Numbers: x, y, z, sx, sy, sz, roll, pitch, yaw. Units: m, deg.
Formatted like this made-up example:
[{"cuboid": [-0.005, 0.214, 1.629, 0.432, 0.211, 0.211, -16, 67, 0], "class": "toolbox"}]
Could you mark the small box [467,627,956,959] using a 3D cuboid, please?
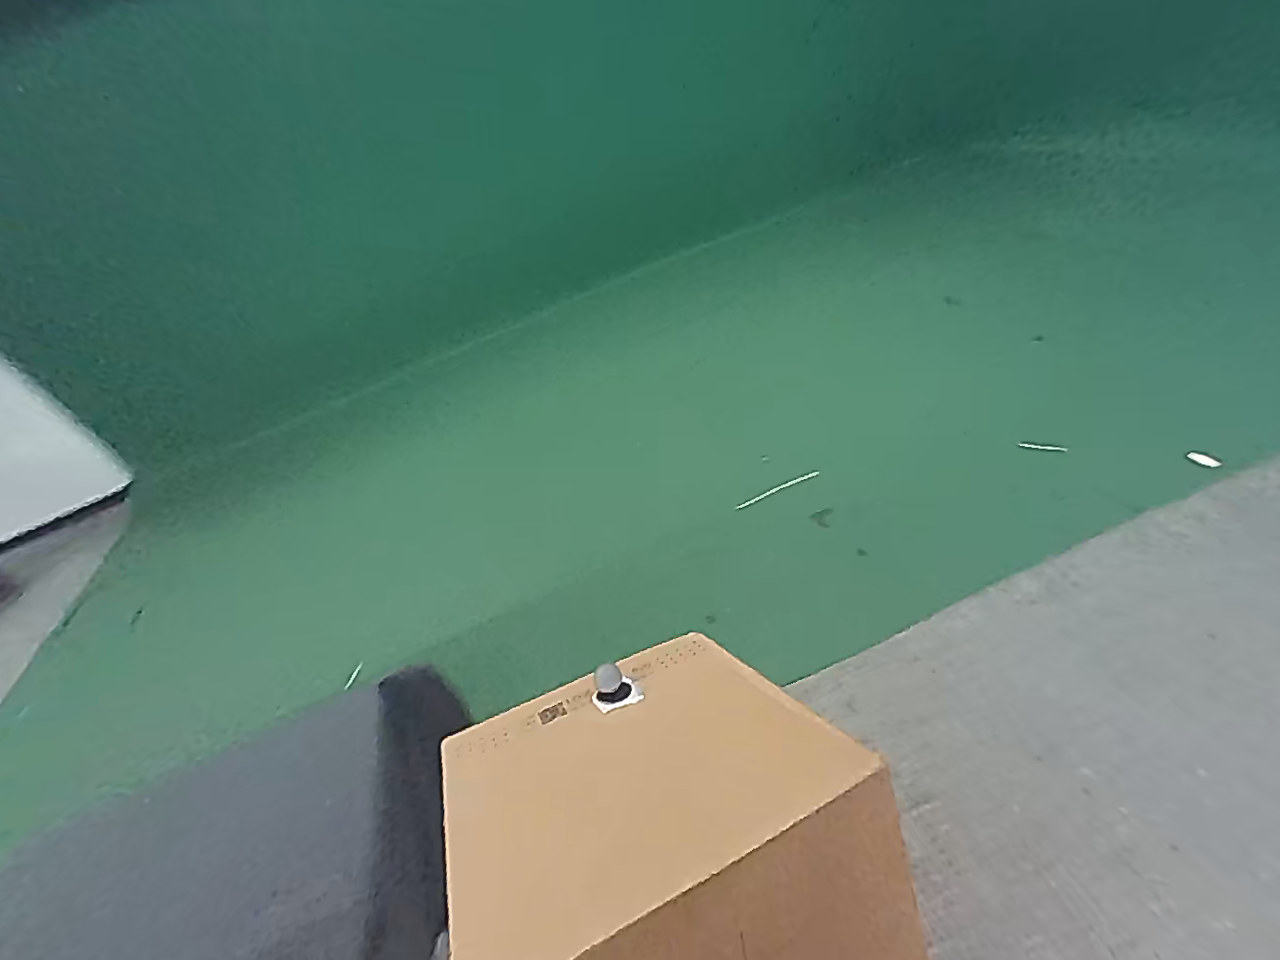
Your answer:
[{"cuboid": [0.022, 0.201, 0.268, 0.168, 0.179, 0.176, -19, 9, -19], "class": "small box"}]
